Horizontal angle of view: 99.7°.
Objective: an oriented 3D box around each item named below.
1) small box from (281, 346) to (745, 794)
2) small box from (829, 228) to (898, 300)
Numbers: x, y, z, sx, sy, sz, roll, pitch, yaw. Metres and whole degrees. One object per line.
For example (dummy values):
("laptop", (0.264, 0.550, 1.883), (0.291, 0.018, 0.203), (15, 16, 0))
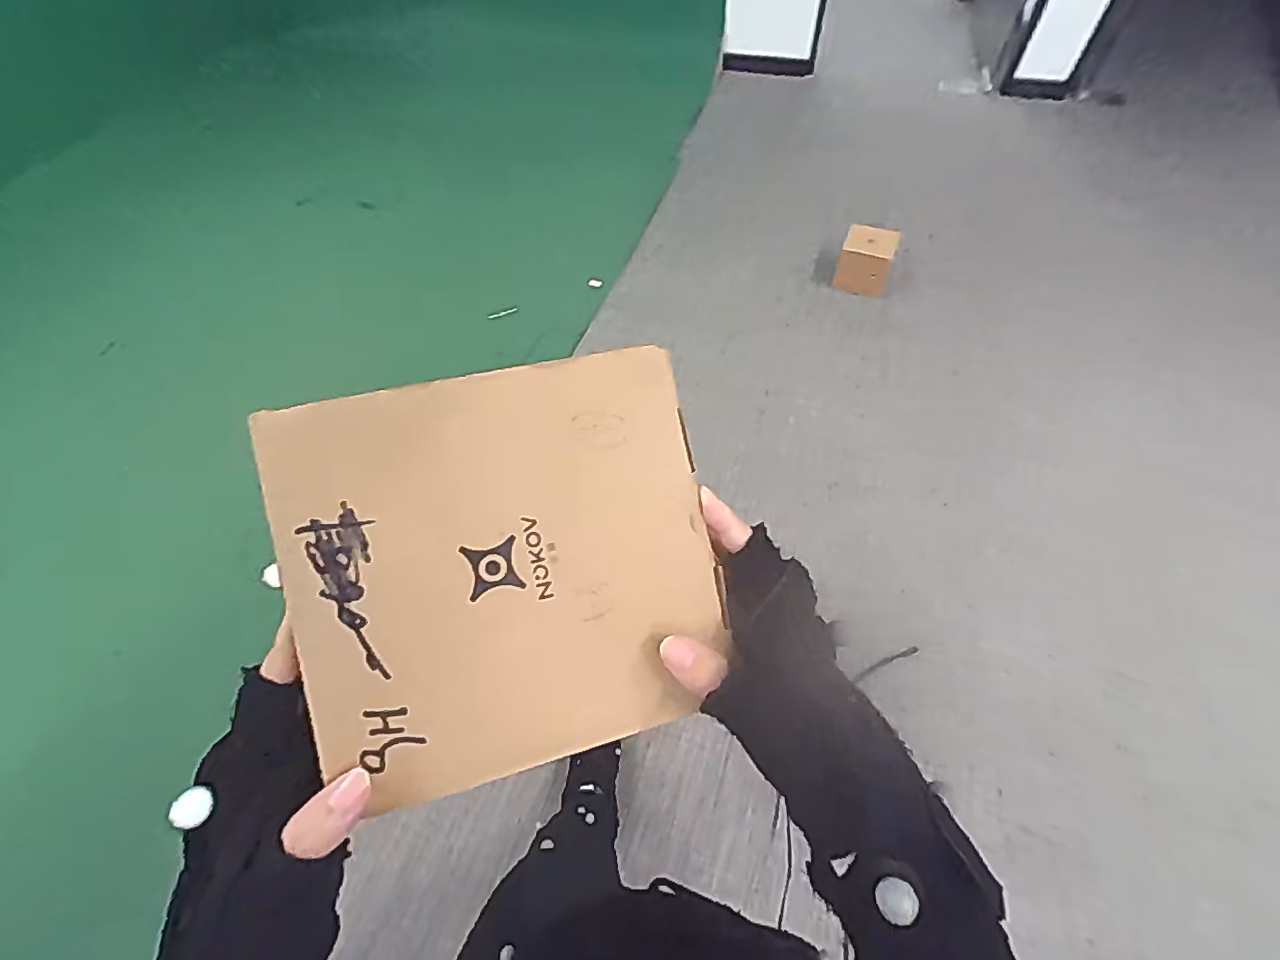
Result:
("small box", (-0.065, 0.036, 0.313), (0.179, 0.176, 0.168), (-12, 88, -12))
("small box", (0.812, -0.782, 1.971), (0.179, 0.176, 0.168), (18, 60, 15))
